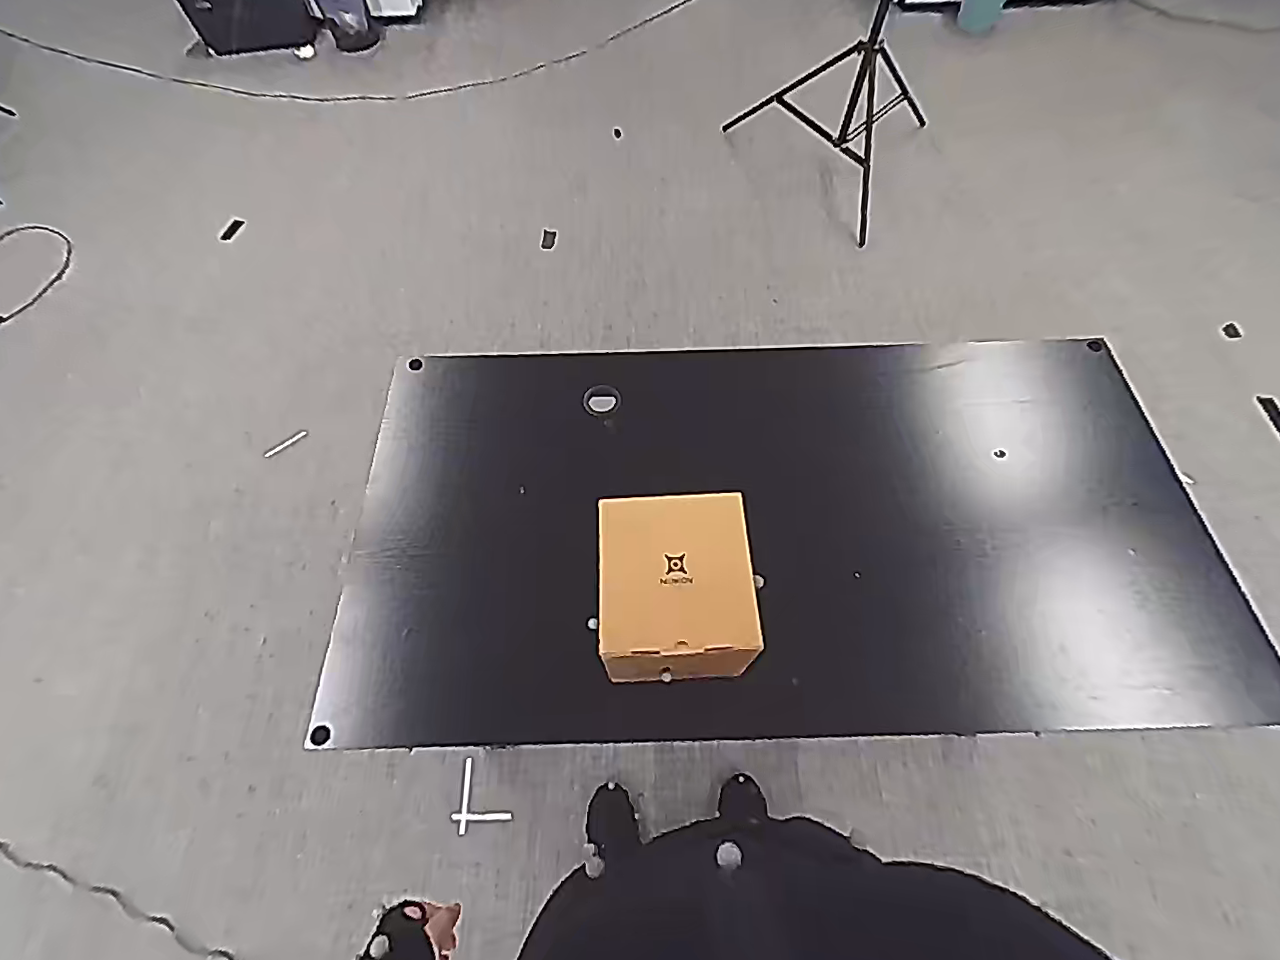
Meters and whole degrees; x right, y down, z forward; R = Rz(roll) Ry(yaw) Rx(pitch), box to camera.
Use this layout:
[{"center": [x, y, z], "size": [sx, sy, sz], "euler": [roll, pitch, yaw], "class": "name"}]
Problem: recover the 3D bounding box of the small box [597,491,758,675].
[{"center": [0.035, 0.130, 0.654], "size": [0.168, 0.176, 0.179], "euler": [-3, 63, 0], "class": "small box"}]
